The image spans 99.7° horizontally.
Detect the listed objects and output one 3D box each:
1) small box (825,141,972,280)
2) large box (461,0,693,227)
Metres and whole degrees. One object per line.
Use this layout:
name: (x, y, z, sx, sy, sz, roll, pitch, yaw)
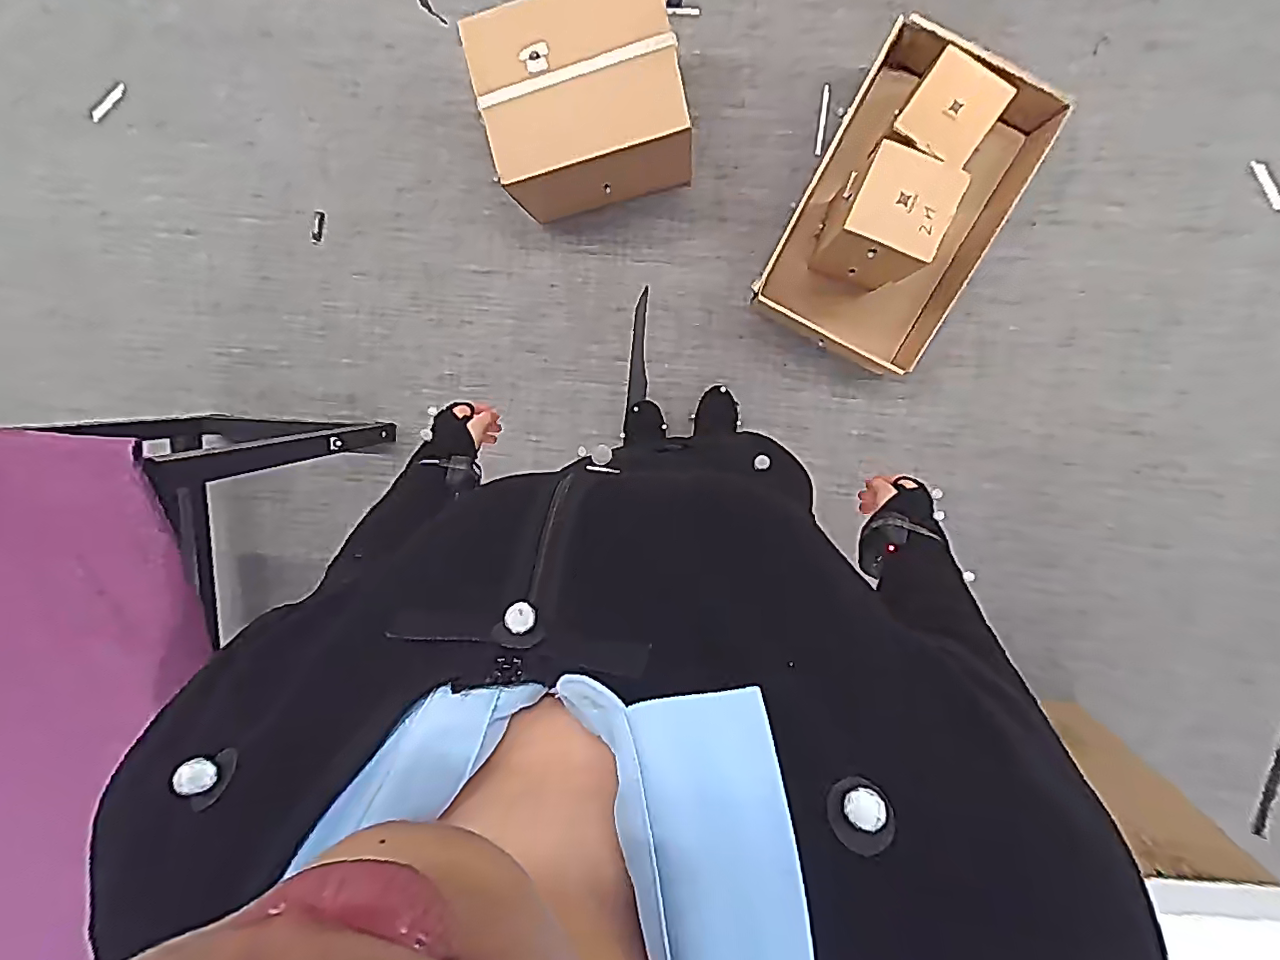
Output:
small box: (0.485, -0.509, 1.050, 0.179, 0.176, 0.168, 23, 100, 0)
large box: (-0.111, -0.812, 1.202, 0.408, 0.320, 0.320, -13, 98, 9)
